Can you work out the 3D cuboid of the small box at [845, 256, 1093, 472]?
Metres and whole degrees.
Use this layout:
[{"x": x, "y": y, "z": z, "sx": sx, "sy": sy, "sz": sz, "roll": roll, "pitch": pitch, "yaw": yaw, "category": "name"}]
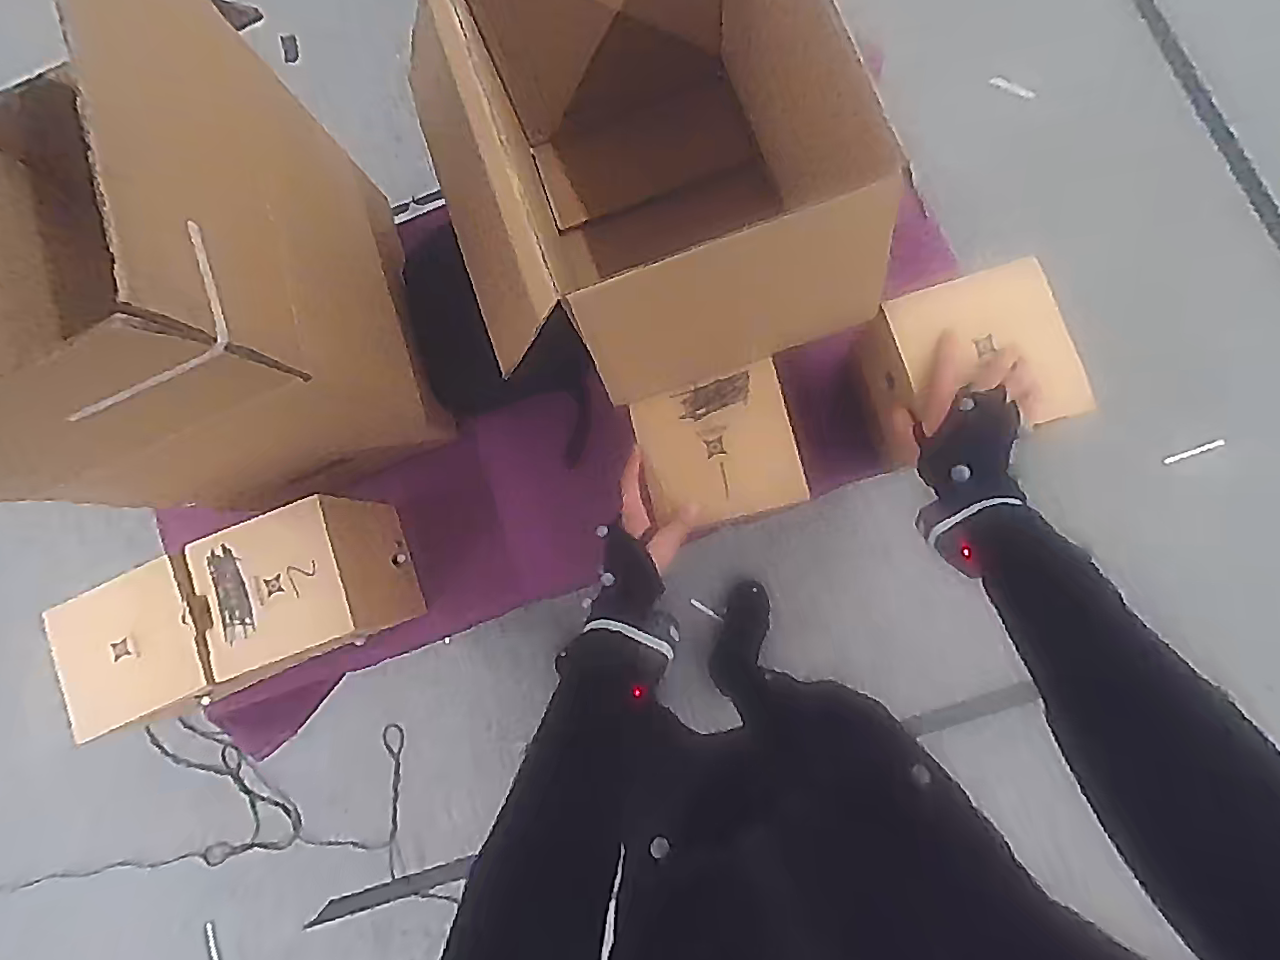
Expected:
[{"x": 0.362, "y": -0.122, "z": 0.637, "sx": 0.168, "sy": 0.176, "sz": 0.179, "roll": -17, "pitch": 82, "yaw": 5, "category": "small box"}]
